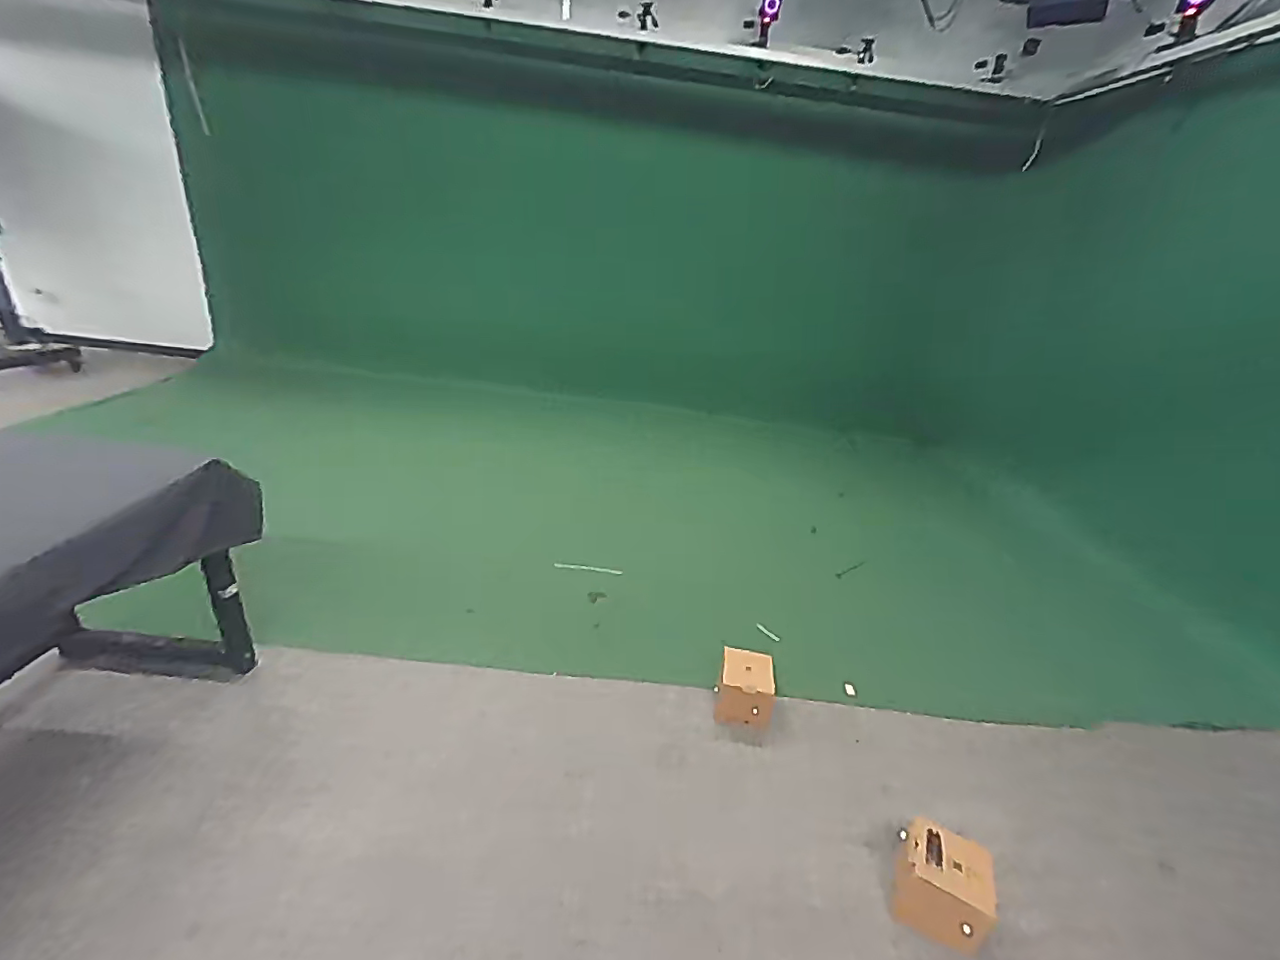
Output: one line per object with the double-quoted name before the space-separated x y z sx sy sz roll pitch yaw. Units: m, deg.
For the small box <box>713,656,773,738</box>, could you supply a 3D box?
"small box" 0.340 0.724 1.802 0.168 0.176 0.179 11 24 4
